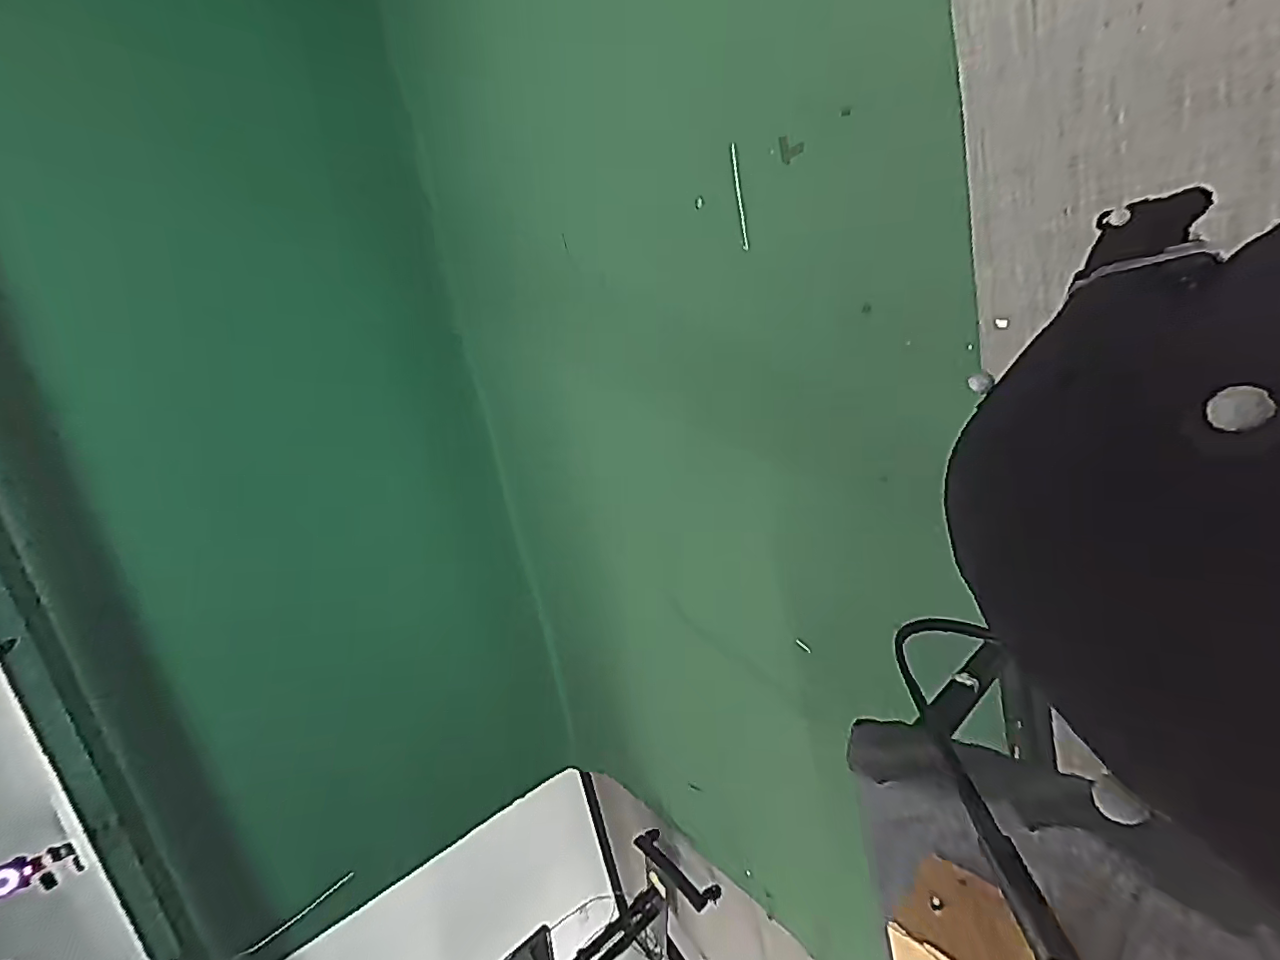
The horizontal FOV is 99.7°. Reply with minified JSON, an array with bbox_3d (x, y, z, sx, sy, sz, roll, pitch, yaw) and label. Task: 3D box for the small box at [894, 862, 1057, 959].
[{"bbox_3d":[0.537,0.768,0.858,0.168,0.176,0.179,-2,107,55],"label":"small box"}]
